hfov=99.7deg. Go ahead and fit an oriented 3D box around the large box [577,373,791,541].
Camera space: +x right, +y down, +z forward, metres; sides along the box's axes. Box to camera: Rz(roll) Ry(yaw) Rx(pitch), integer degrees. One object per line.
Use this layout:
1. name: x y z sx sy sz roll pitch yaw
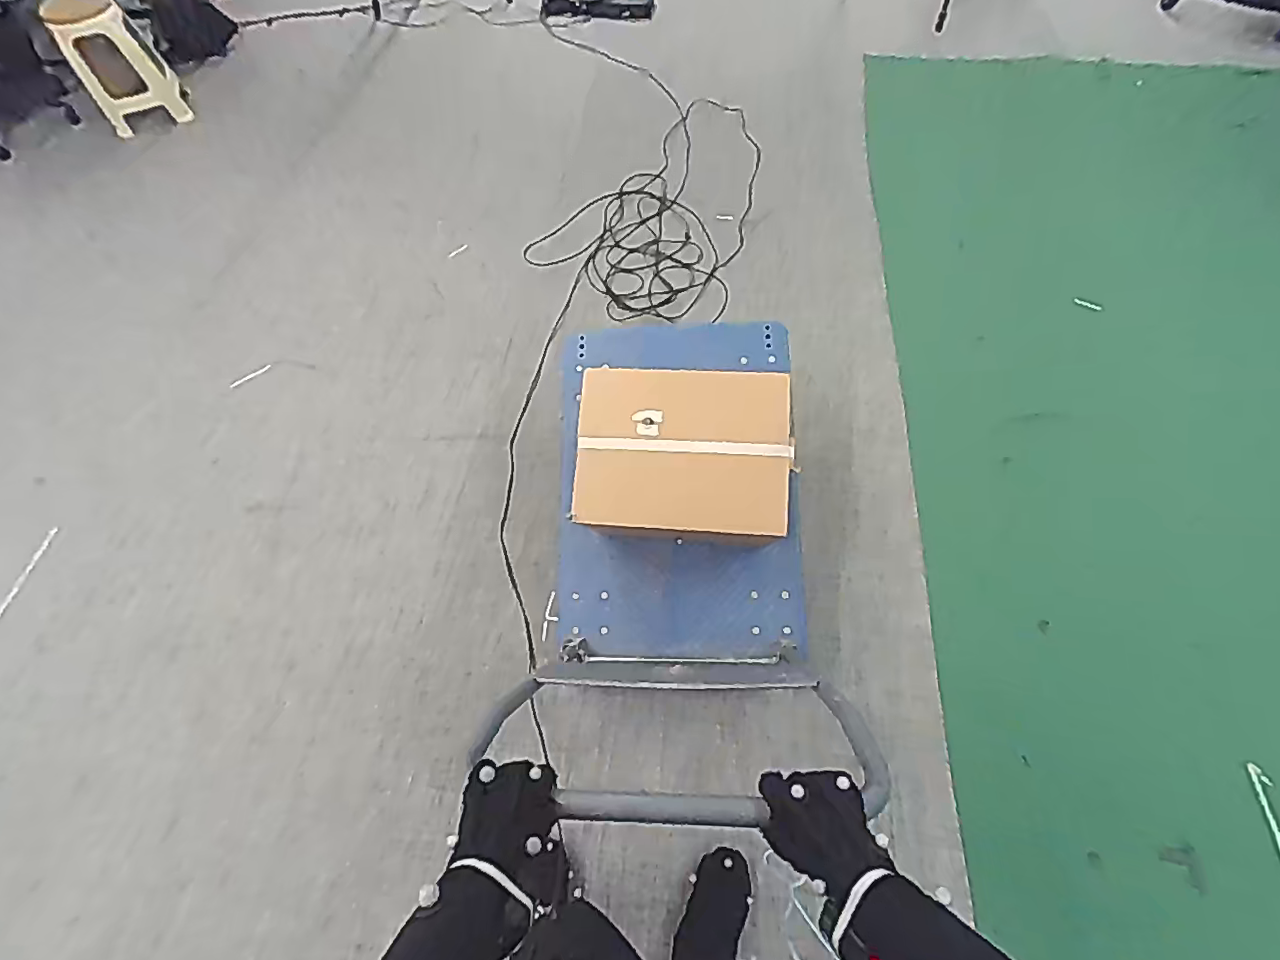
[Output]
1. large box: 0.105 -0.033 1.171 0.408 0.320 0.320 2 80 9
